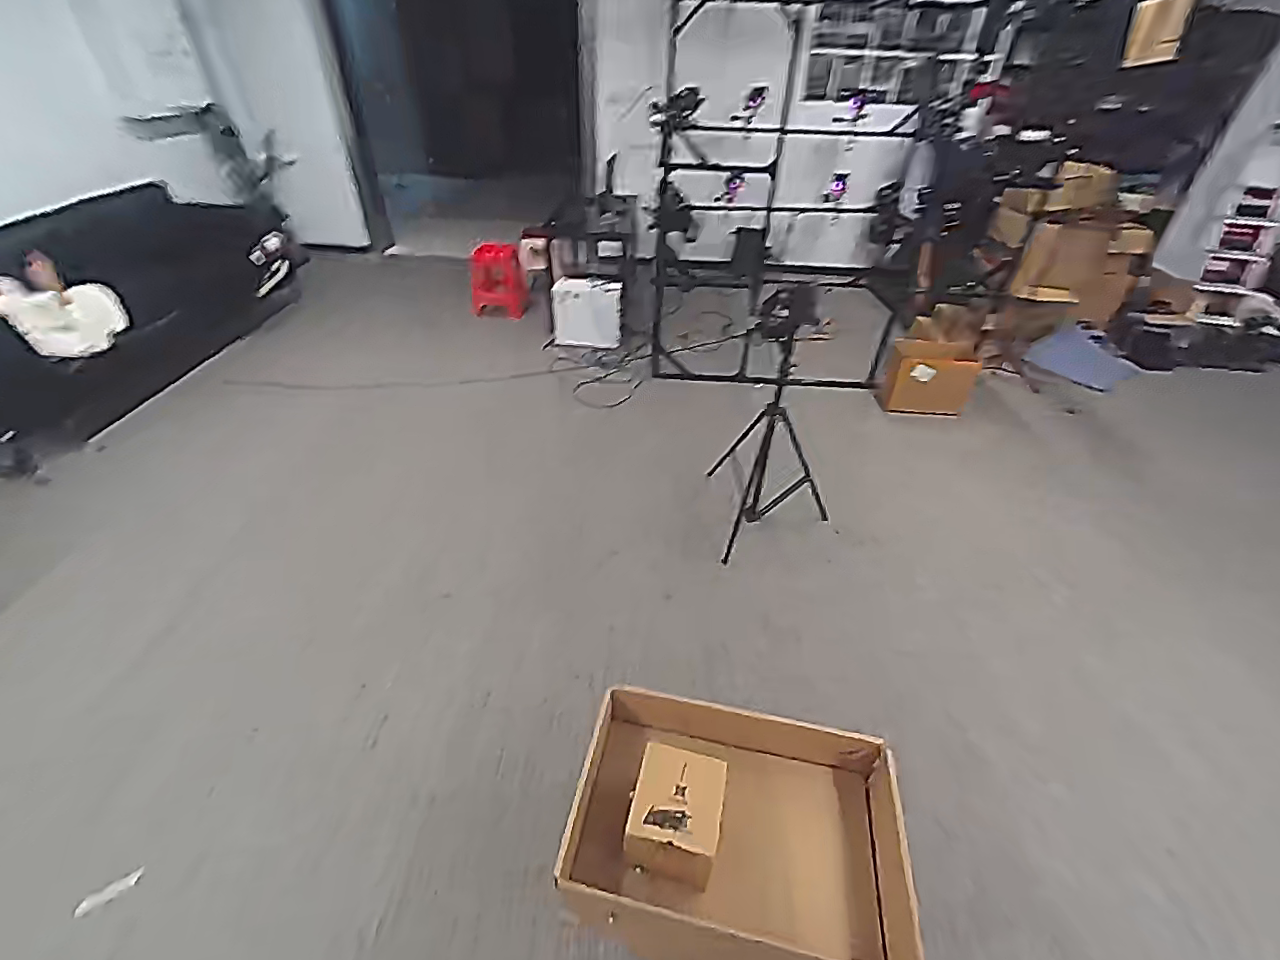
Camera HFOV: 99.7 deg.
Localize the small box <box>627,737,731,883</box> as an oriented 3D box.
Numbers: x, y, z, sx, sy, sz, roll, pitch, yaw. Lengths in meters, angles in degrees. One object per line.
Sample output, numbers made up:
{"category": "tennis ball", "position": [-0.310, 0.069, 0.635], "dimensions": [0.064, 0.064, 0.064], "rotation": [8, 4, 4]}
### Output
{"category": "small box", "position": [0.076, 0.650, 1.064], "dimensions": [0.168, 0.176, 0.179], "rotation": [11, 38, 11]}
